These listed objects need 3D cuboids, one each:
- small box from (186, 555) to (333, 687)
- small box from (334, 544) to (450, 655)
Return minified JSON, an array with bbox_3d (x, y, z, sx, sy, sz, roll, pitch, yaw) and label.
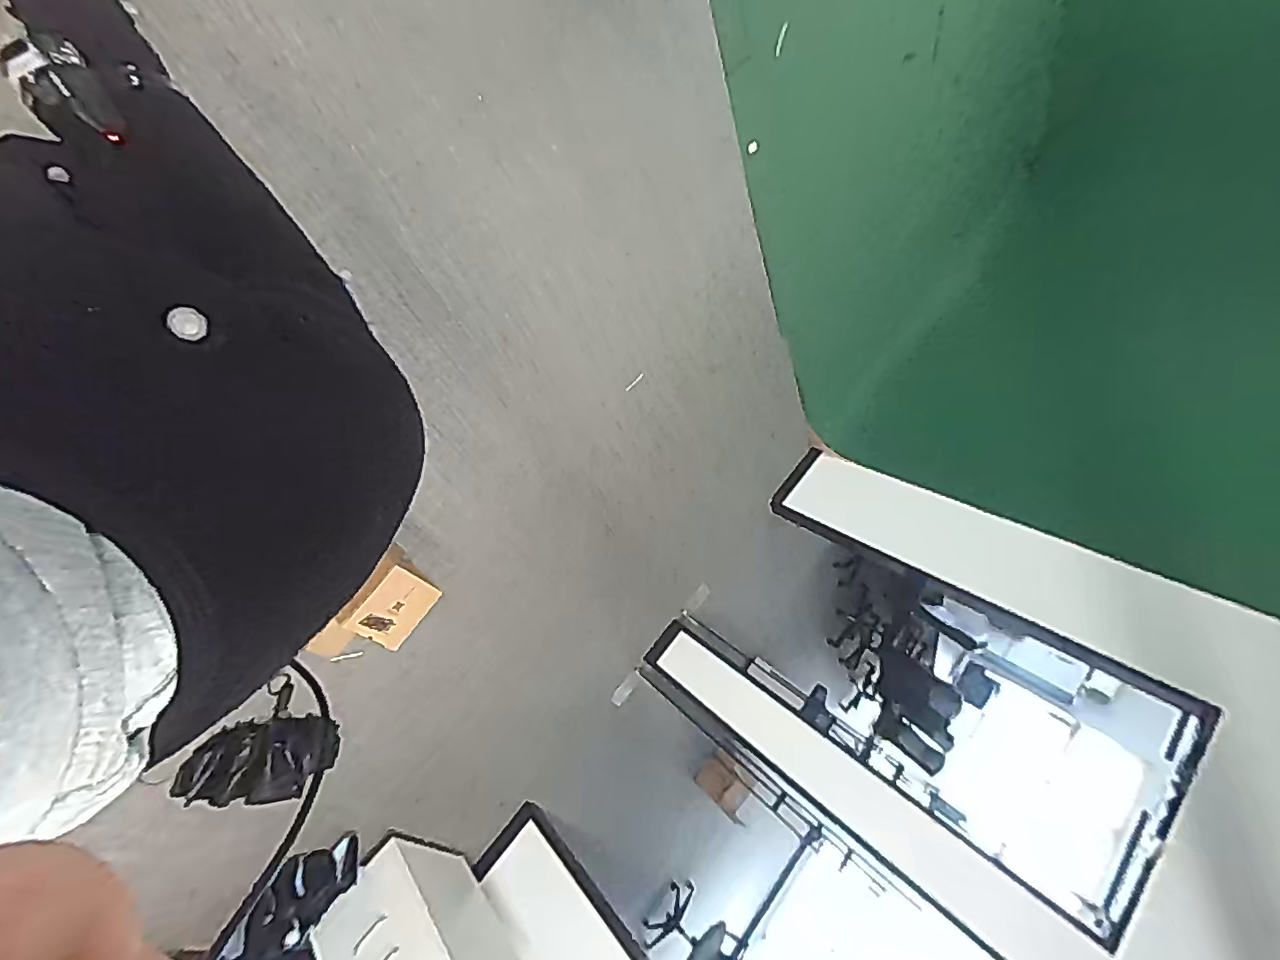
[{"bbox_3d":[-0.789,0.285,1.118,0.179,0.176,0.168,-50,139,-15],"label":"small box"},{"bbox_3d":[-0.610,0.287,1.317,0.179,0.176,0.168,-54,140,-16],"label":"small box"}]
